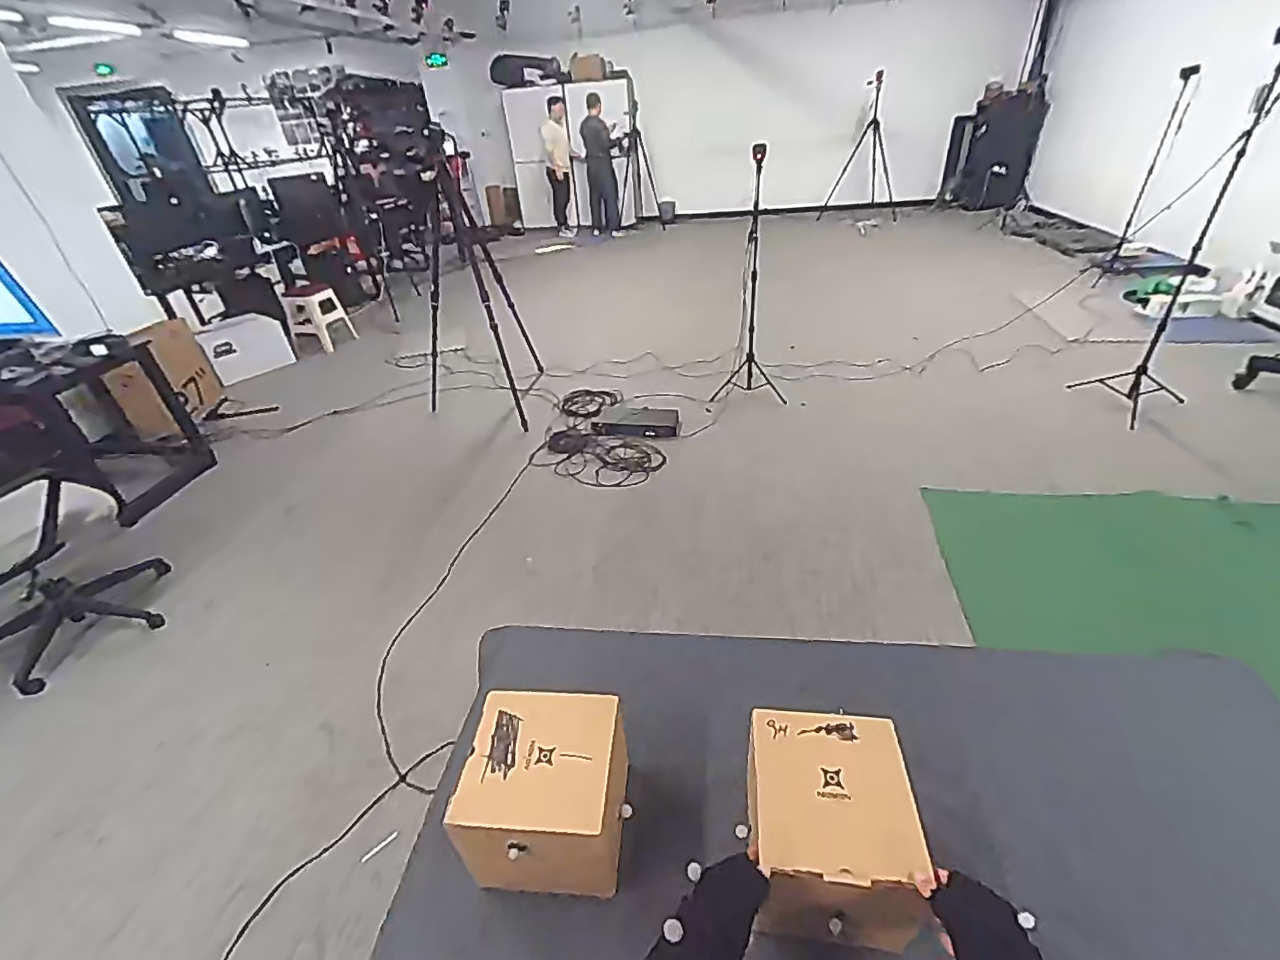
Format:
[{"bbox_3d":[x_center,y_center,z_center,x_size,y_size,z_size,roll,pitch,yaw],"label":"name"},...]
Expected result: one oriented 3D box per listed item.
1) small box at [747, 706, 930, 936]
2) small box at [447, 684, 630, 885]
[{"bbox_3d":[0.214,0.396,0.634,0.168,0.176,0.179,1,36,9],"label":"small box"},{"bbox_3d":[-0.113,0.385,0.687,0.179,0.176,0.168,1,35,6],"label":"small box"}]
